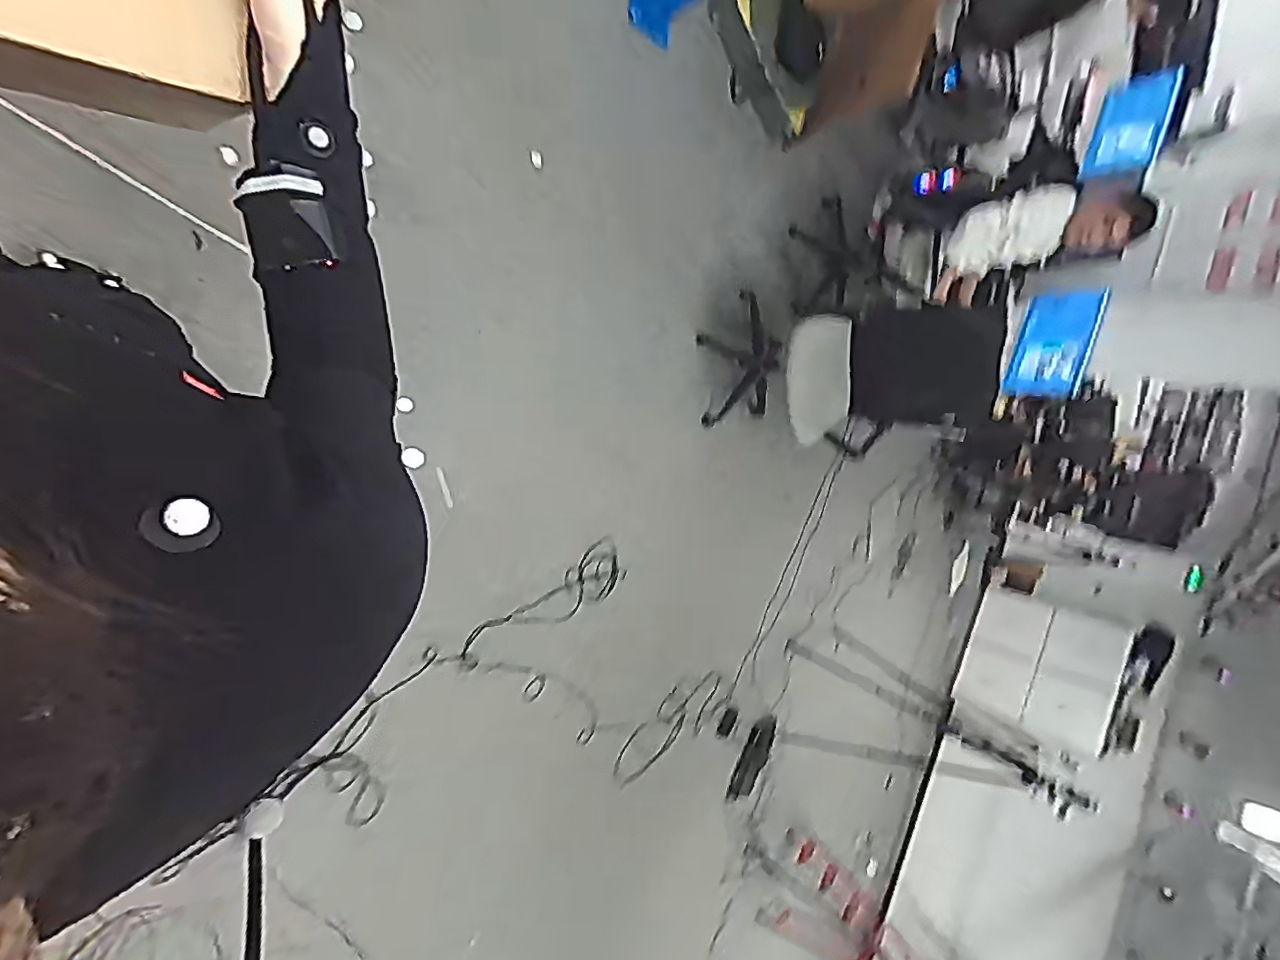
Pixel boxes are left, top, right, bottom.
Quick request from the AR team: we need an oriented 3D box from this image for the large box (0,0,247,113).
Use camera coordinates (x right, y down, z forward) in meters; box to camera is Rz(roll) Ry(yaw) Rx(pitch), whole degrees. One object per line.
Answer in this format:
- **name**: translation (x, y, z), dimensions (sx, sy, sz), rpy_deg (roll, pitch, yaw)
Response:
- **large box**: translation (-0.509, -0.440, 0.304), dimensions (0.408, 0.320, 0.320), rpy_deg (-12, 119, -41)
